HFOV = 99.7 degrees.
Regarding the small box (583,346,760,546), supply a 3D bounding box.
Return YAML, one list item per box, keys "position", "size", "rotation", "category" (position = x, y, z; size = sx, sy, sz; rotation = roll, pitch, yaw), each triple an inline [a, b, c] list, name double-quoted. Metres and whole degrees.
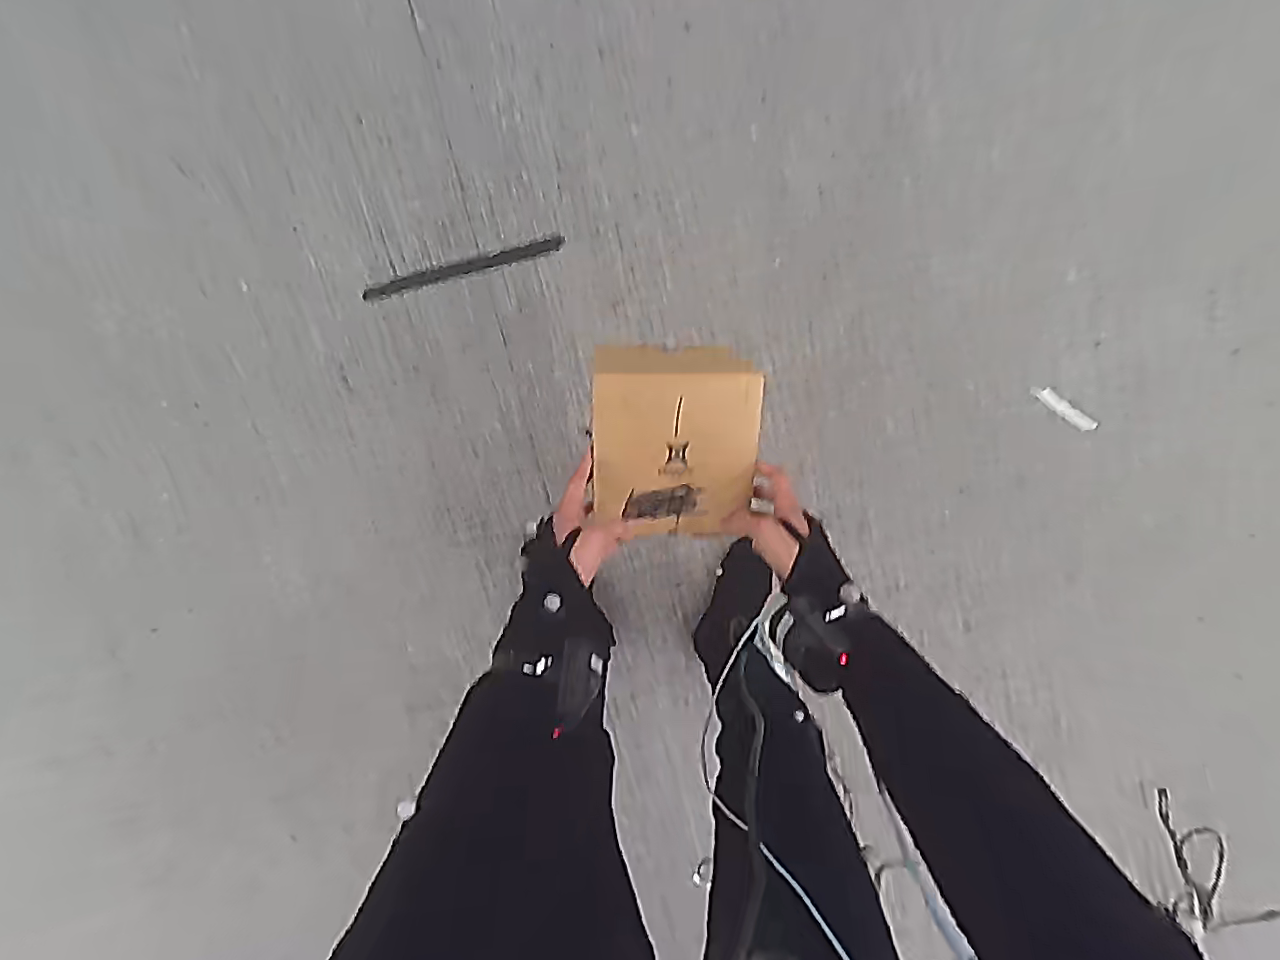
- position: [0.021, -0.044, 0.599]
  size: [0.168, 0.176, 0.179]
  rotation: [-1, 113, -6]
  category: "small box"
